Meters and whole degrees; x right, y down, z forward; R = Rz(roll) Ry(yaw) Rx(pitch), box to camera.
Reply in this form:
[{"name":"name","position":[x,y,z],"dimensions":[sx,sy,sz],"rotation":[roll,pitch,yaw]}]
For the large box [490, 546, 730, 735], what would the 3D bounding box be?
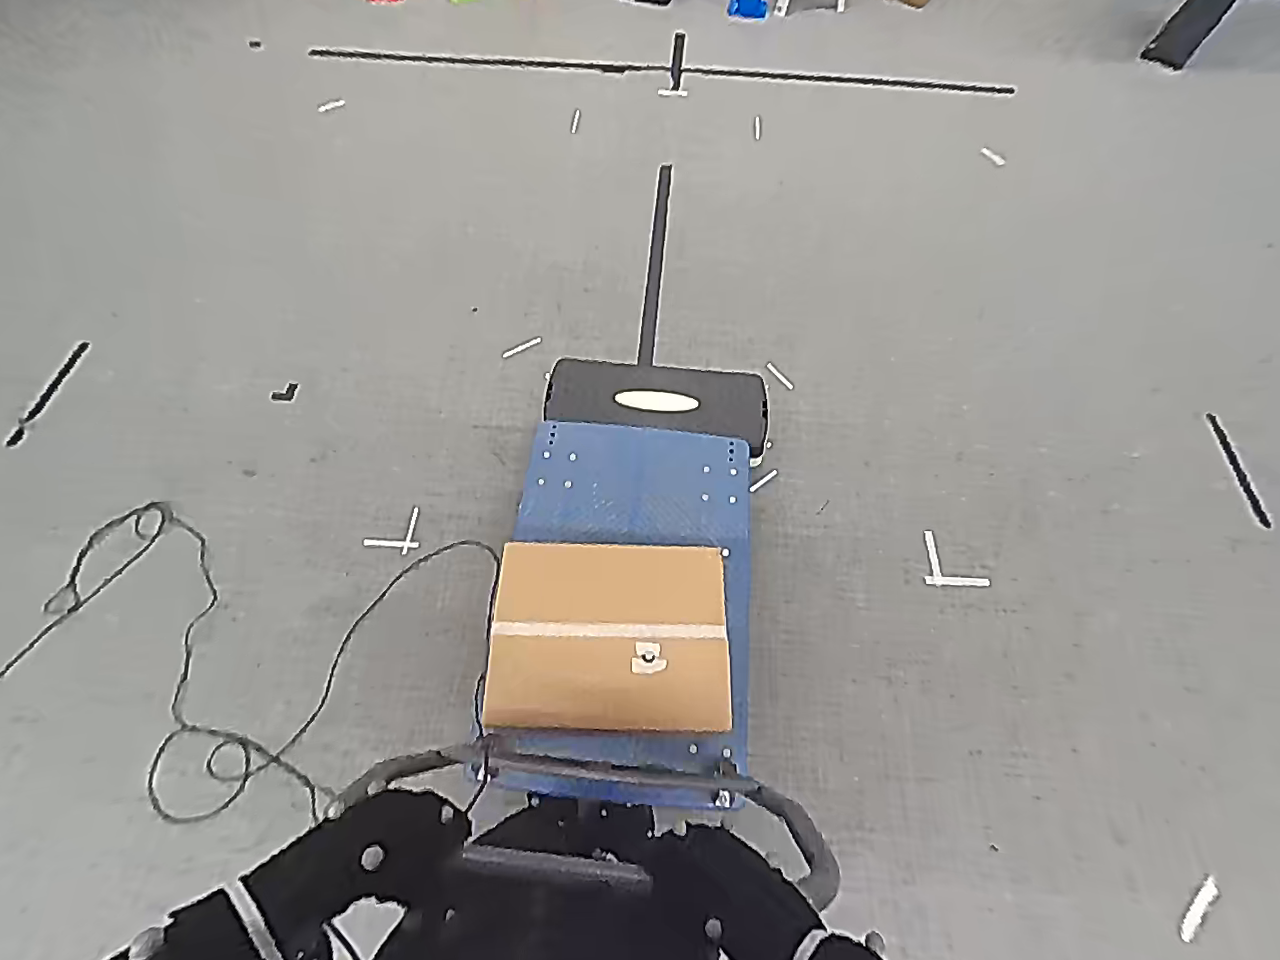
[{"name":"large box","position":[-0.056,0.334,1.085],"dimensions":[0.408,0.320,0.320],"rotation":[2,63,-2]}]
